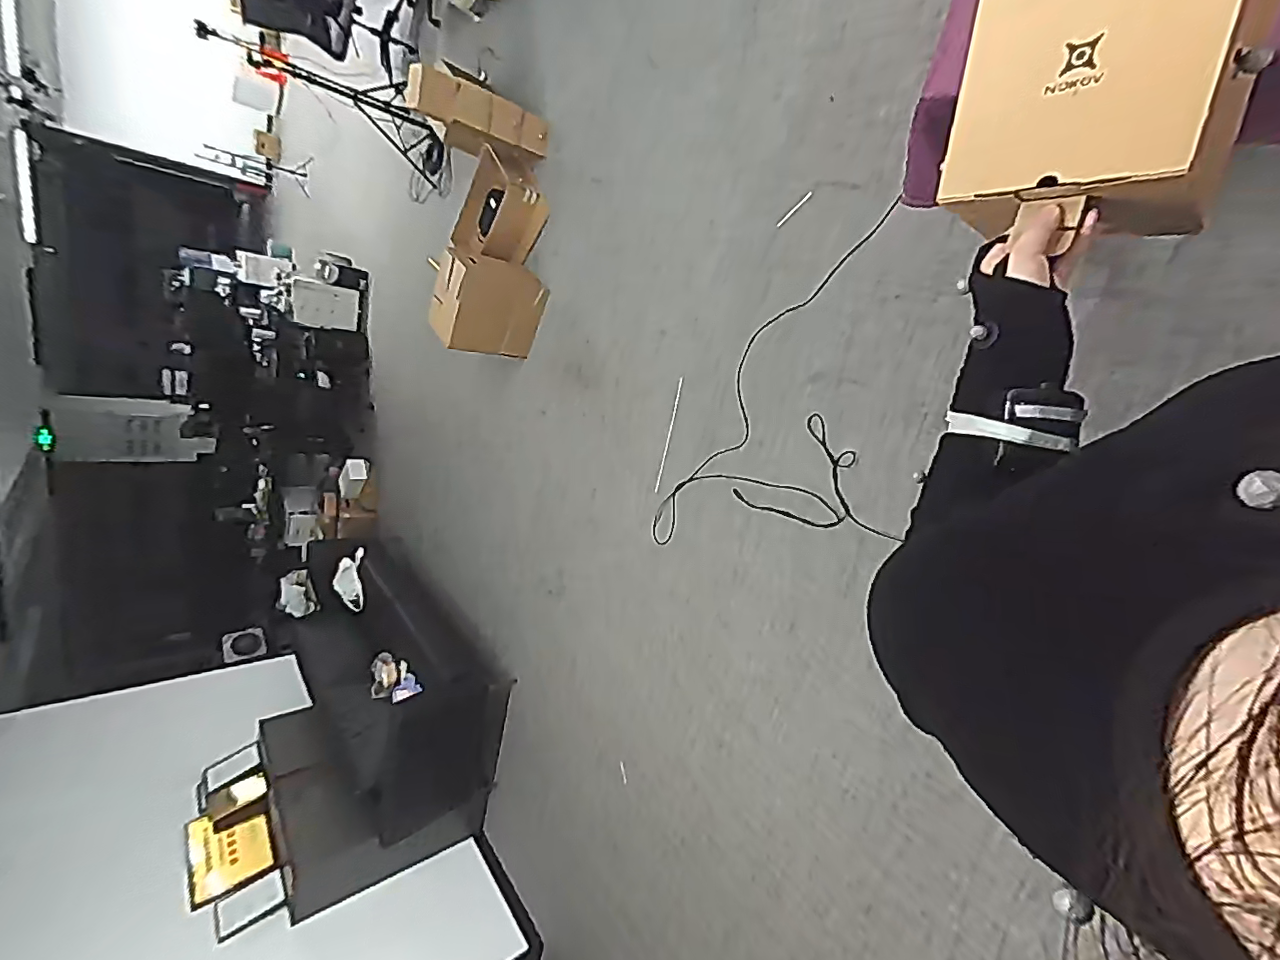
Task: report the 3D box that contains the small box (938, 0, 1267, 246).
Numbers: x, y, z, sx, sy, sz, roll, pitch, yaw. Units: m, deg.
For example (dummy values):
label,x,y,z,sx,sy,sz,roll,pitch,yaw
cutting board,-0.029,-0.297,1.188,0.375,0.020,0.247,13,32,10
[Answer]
label,x,y,z,sx,sy,sz,roll,pitch,yaw
small box,0.388,-0.313,0.460,0.168,0.176,0.179,20,109,45
